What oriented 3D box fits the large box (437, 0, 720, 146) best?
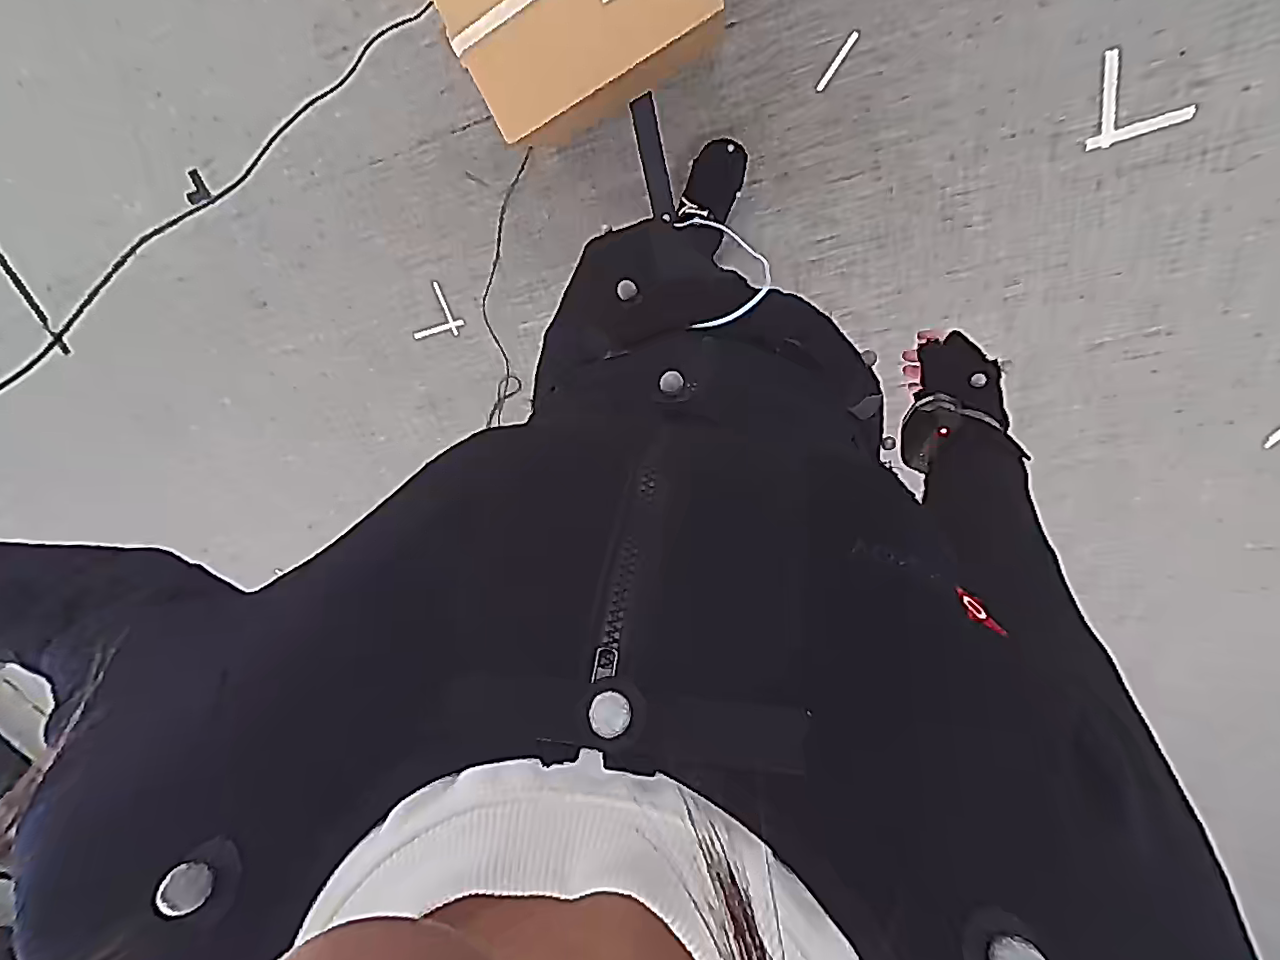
[{"bbox_3d":[-0.103,-0.847,0.939,0.408,0.320,0.320,-21,116,18],"label":"large box"}]
